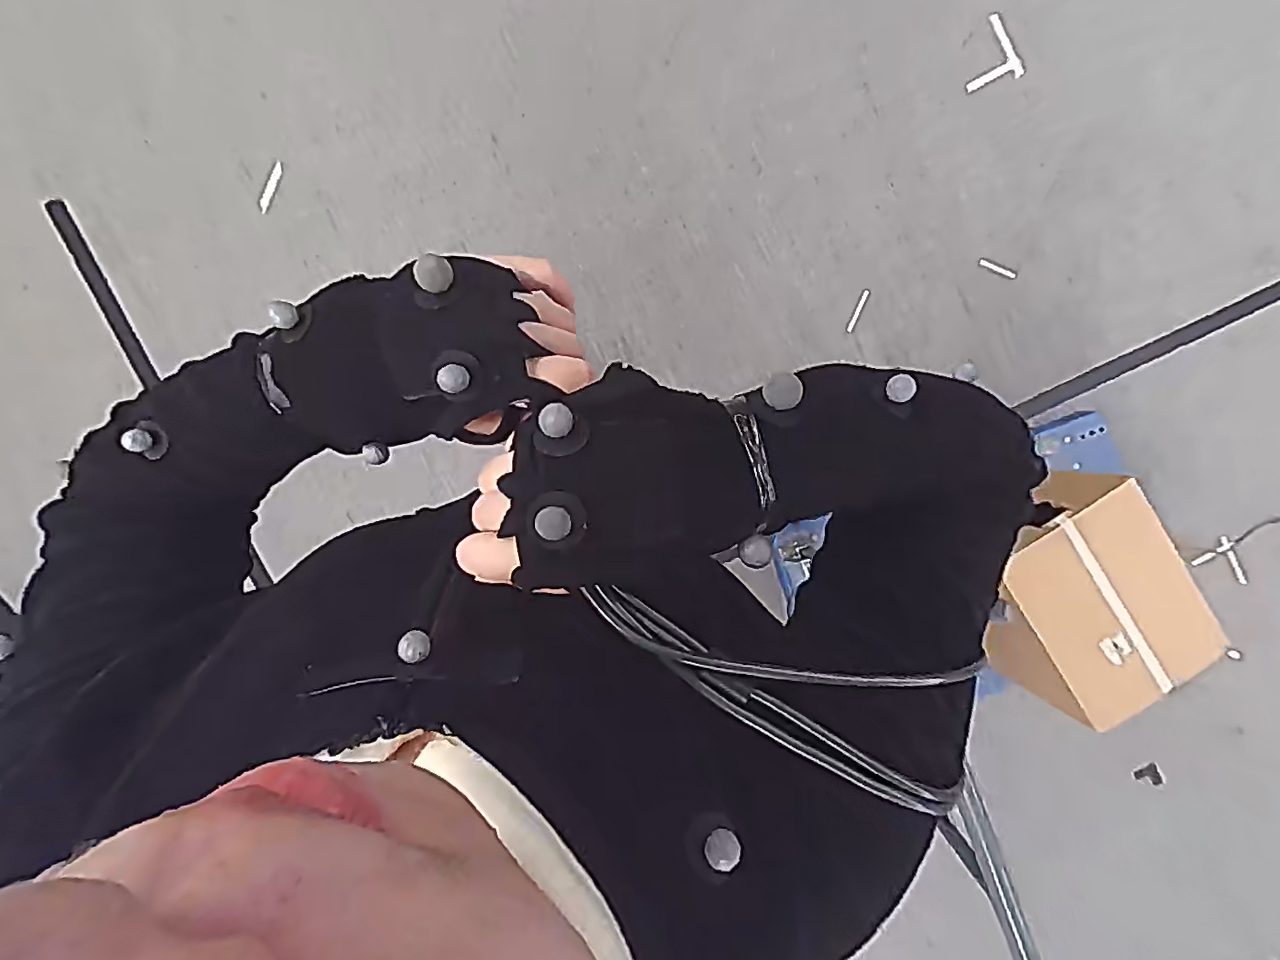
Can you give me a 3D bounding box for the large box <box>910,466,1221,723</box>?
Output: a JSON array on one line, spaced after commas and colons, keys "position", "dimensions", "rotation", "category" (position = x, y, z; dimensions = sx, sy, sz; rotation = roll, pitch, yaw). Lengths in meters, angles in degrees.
[{"position": [0.890, 0.219, 1.185], "dimensions": [0.320, 0.320, 0.408], "rotation": [-33, 95, 2], "category": "large box"}]
